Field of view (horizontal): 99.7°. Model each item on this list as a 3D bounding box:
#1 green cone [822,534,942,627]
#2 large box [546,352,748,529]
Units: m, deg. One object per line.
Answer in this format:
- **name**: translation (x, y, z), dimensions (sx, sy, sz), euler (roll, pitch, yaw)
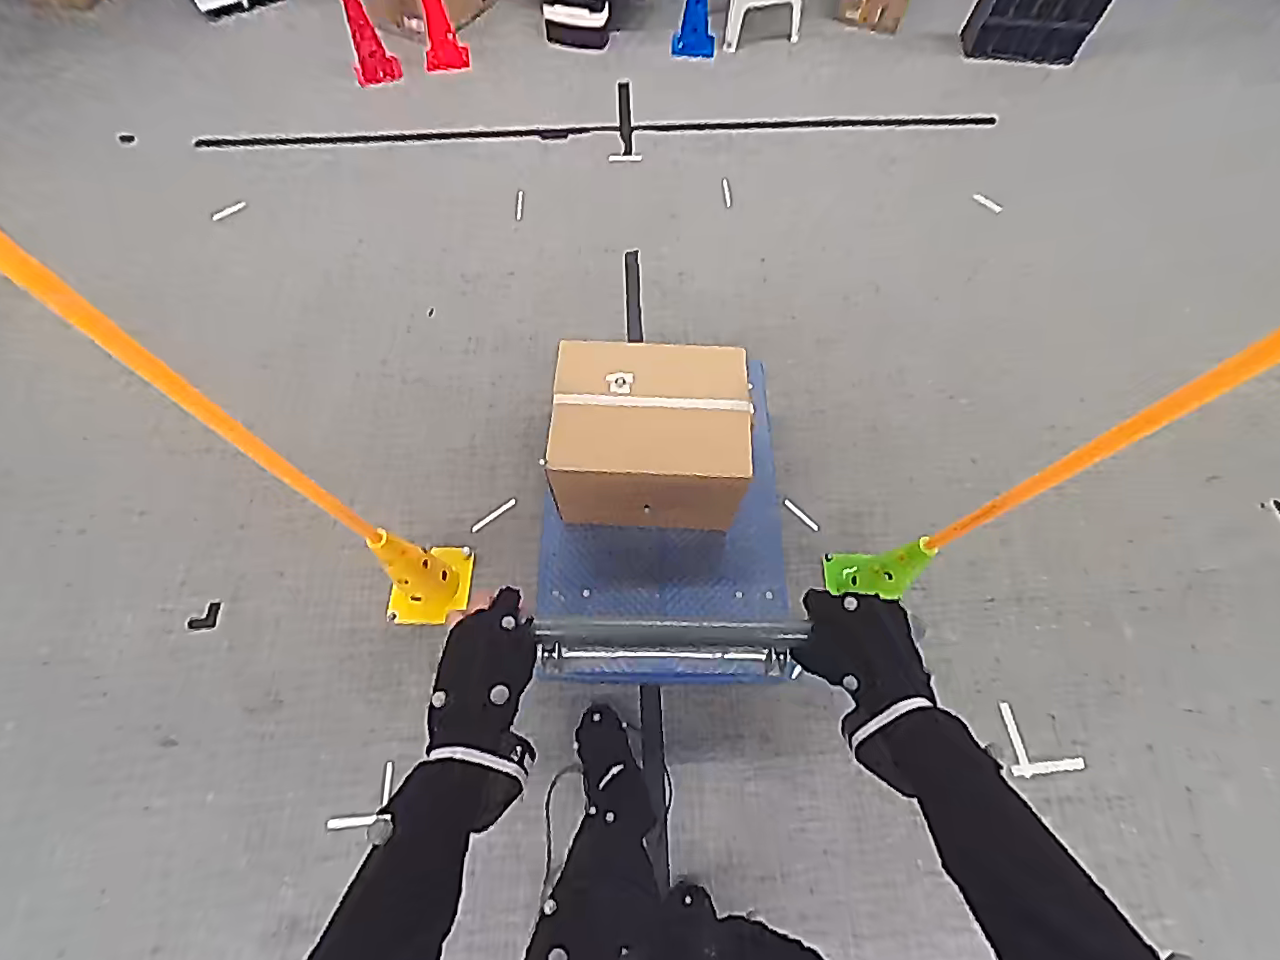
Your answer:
- **green cone**: translation (0.593, 0.212, 1.275), dimensions (0.202, 0.368, 0.200), euler (1, 64, -1)
- **large box**: translation (0.019, -0.078, 1.254), dimensions (0.408, 0.320, 0.320), euler (2, 65, 1)
